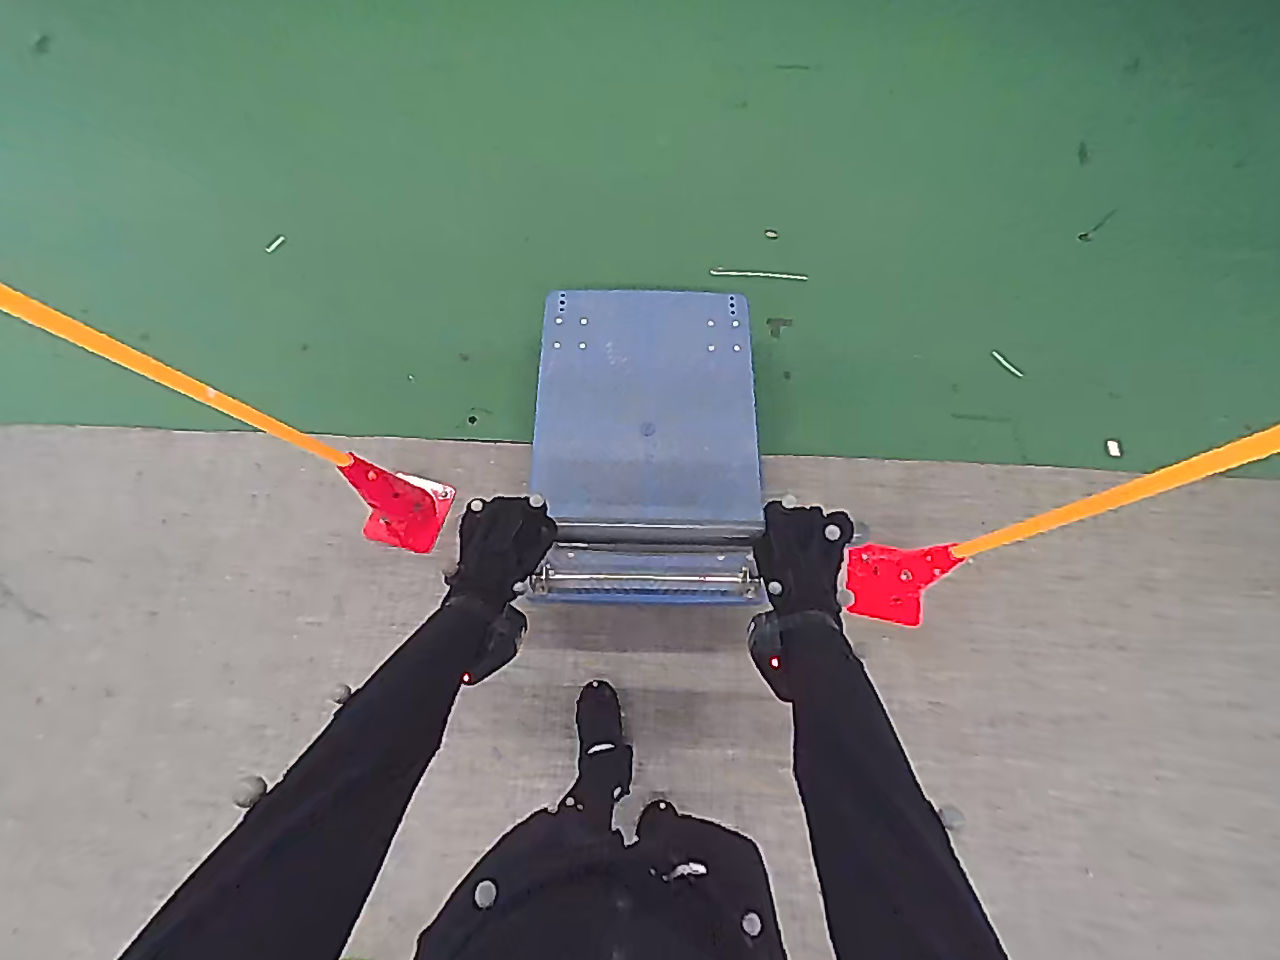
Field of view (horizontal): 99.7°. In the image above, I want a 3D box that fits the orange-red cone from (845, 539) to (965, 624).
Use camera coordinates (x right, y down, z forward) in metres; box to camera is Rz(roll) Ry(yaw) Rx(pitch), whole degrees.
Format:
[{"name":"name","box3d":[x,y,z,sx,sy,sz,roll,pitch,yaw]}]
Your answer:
[{"name":"orange-red cone","box3d":[0.644,0.204,1.260,0.198,0.360,0.199,13,71,5]}]
